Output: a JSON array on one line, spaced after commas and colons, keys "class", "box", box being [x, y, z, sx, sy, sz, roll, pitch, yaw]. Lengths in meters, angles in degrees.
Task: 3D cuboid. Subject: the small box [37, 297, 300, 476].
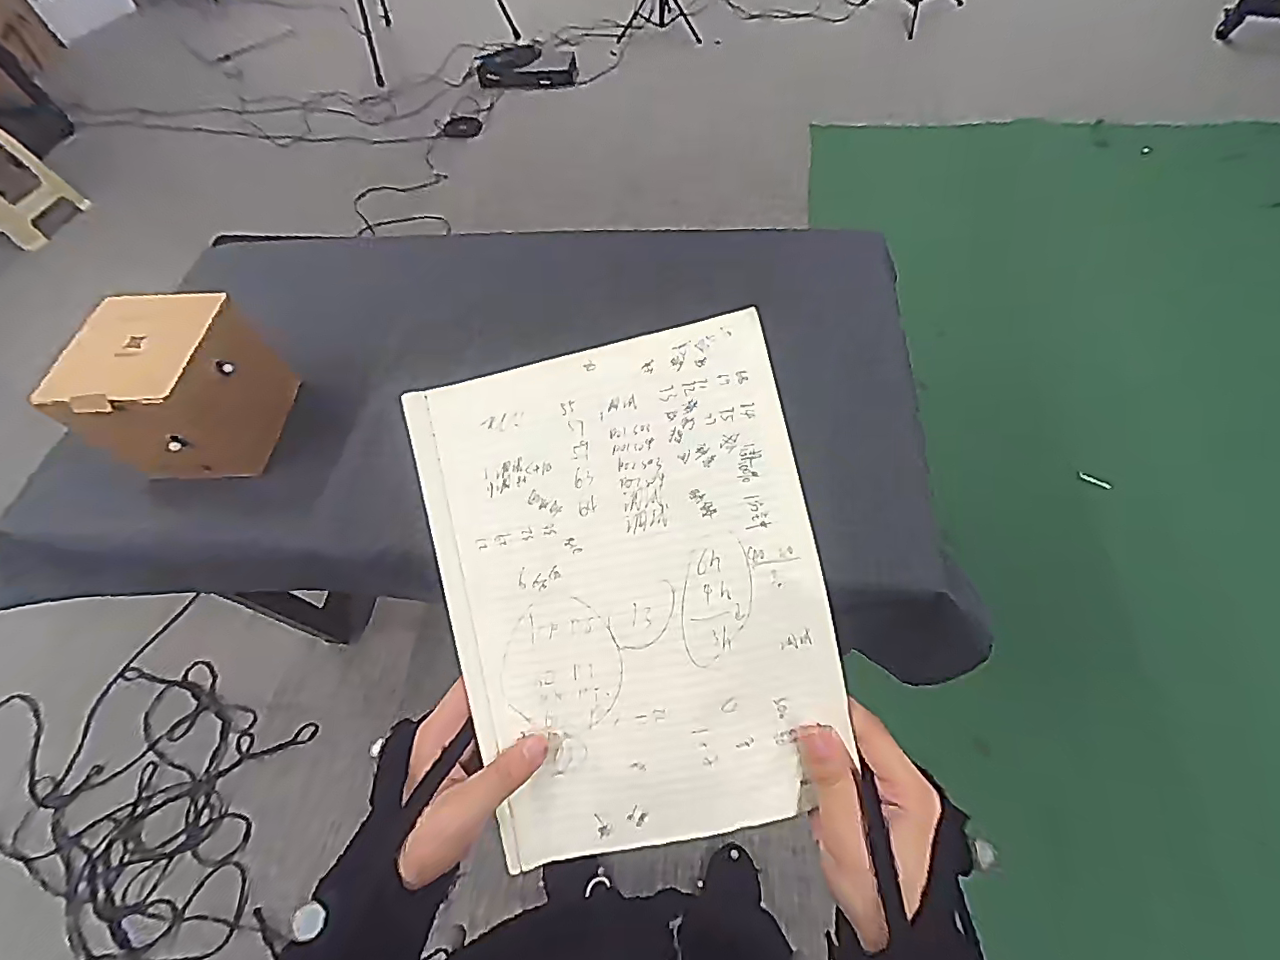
[{"class": "small box", "box": [-0.595, -0.116, 0.716, 0.168, 0.176, 0.179, -1, 58, 3]}]
